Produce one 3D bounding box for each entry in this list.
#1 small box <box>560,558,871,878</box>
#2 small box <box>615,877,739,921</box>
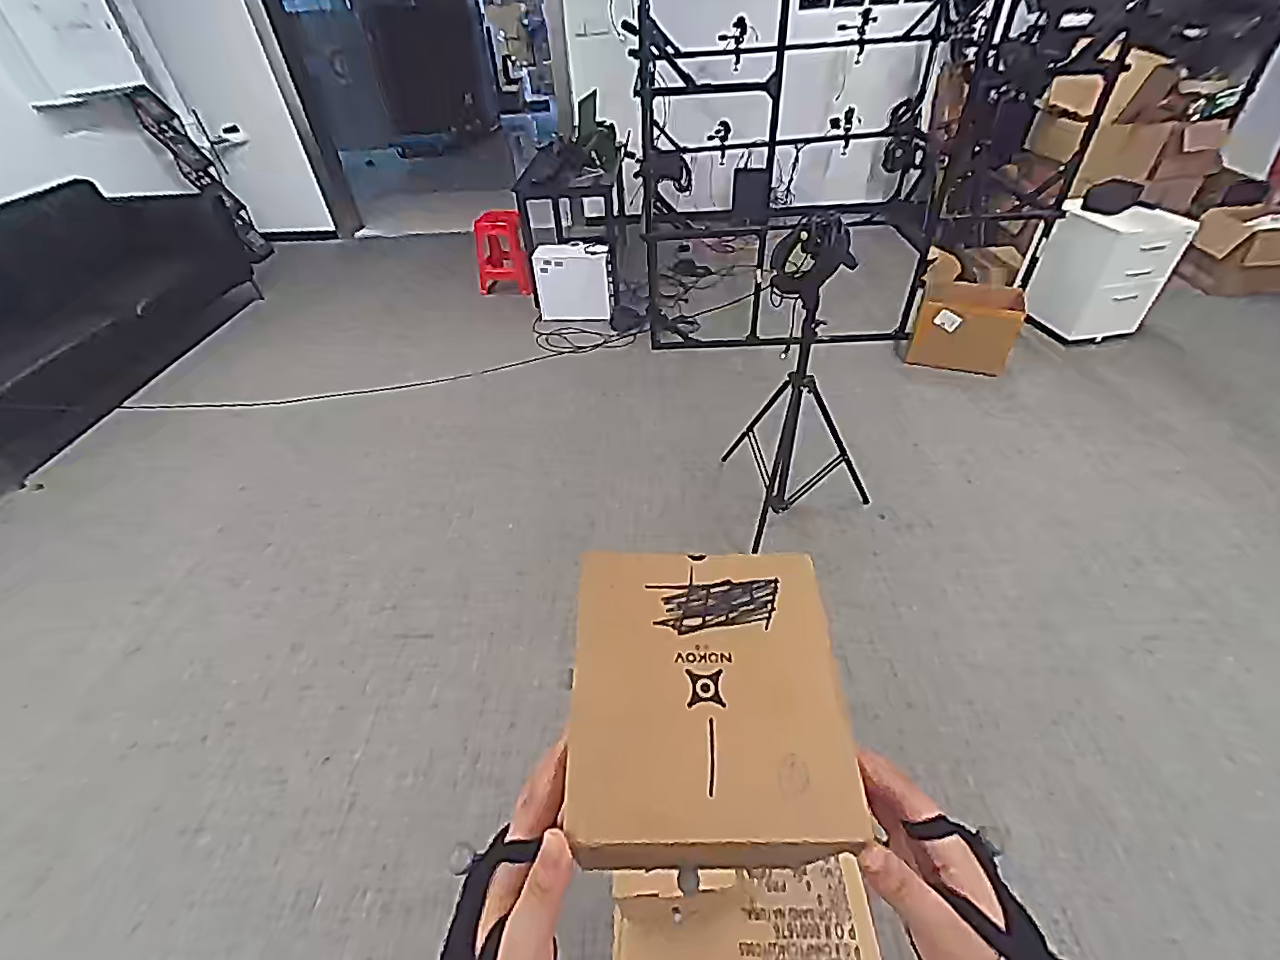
[{"bbox_3d":[0.037,0.174,0.393,0.168,0.176,0.179,0,50,-1],"label":"small box"},{"bbox_3d":[0.051,0.538,0.817,0.168,0.176,0.179,-6,44,2],"label":"small box"}]
